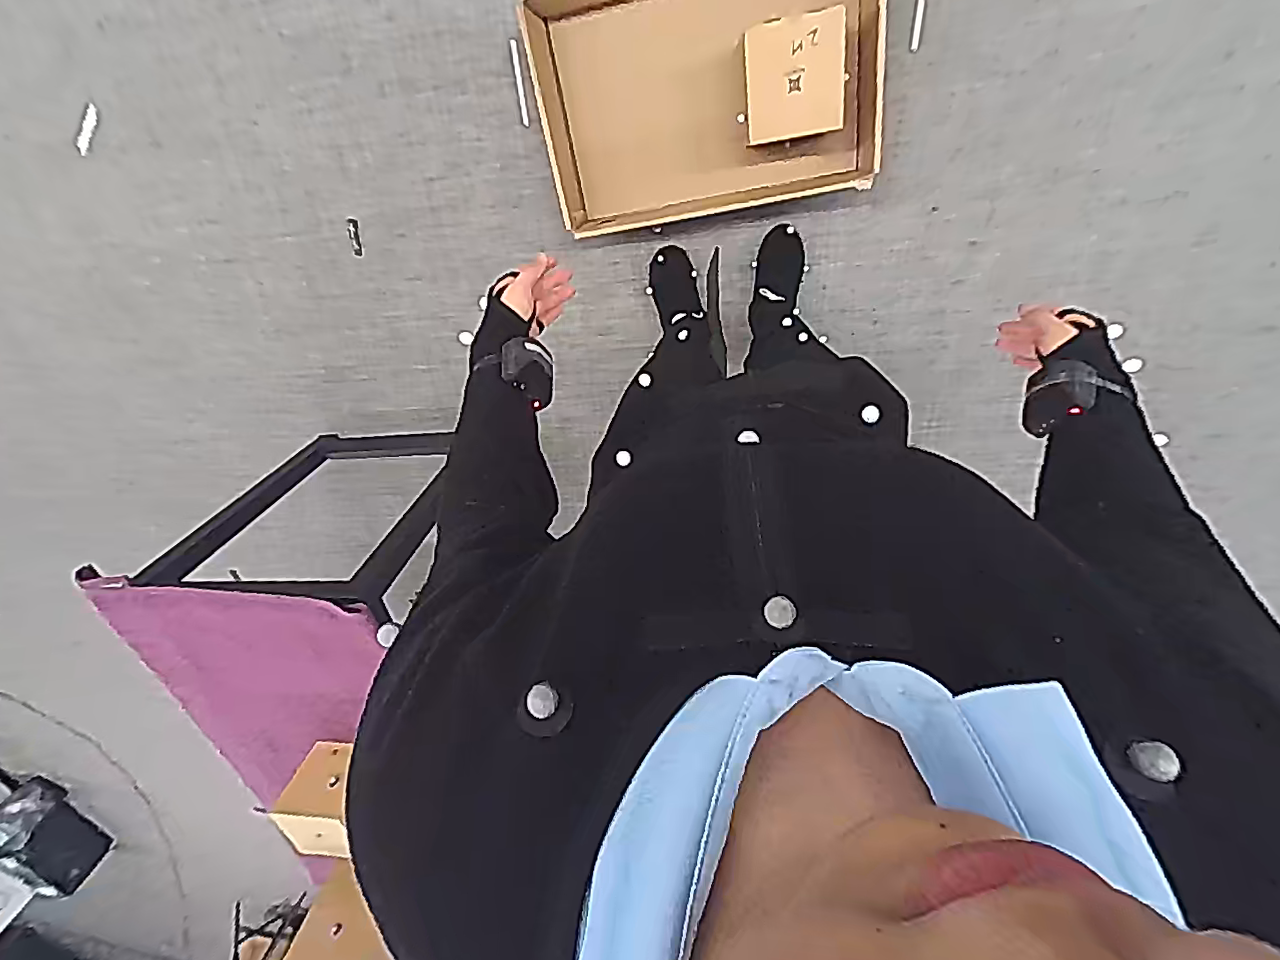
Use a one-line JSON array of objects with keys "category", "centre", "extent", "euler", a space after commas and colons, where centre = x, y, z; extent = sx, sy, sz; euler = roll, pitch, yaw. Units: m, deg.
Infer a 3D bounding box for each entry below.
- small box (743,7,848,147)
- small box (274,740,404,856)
[{"category": "small box", "centre": [0.280, -0.732, 1.001], "extent": [0.168, 0.176, 0.179], "euler": [-4, 120, 10]}, {"category": "small box", "centre": [-0.673, 0.720, 1.233], "extent": [0.168, 0.176, 0.179], "euler": [-1, 122, 8]}]
